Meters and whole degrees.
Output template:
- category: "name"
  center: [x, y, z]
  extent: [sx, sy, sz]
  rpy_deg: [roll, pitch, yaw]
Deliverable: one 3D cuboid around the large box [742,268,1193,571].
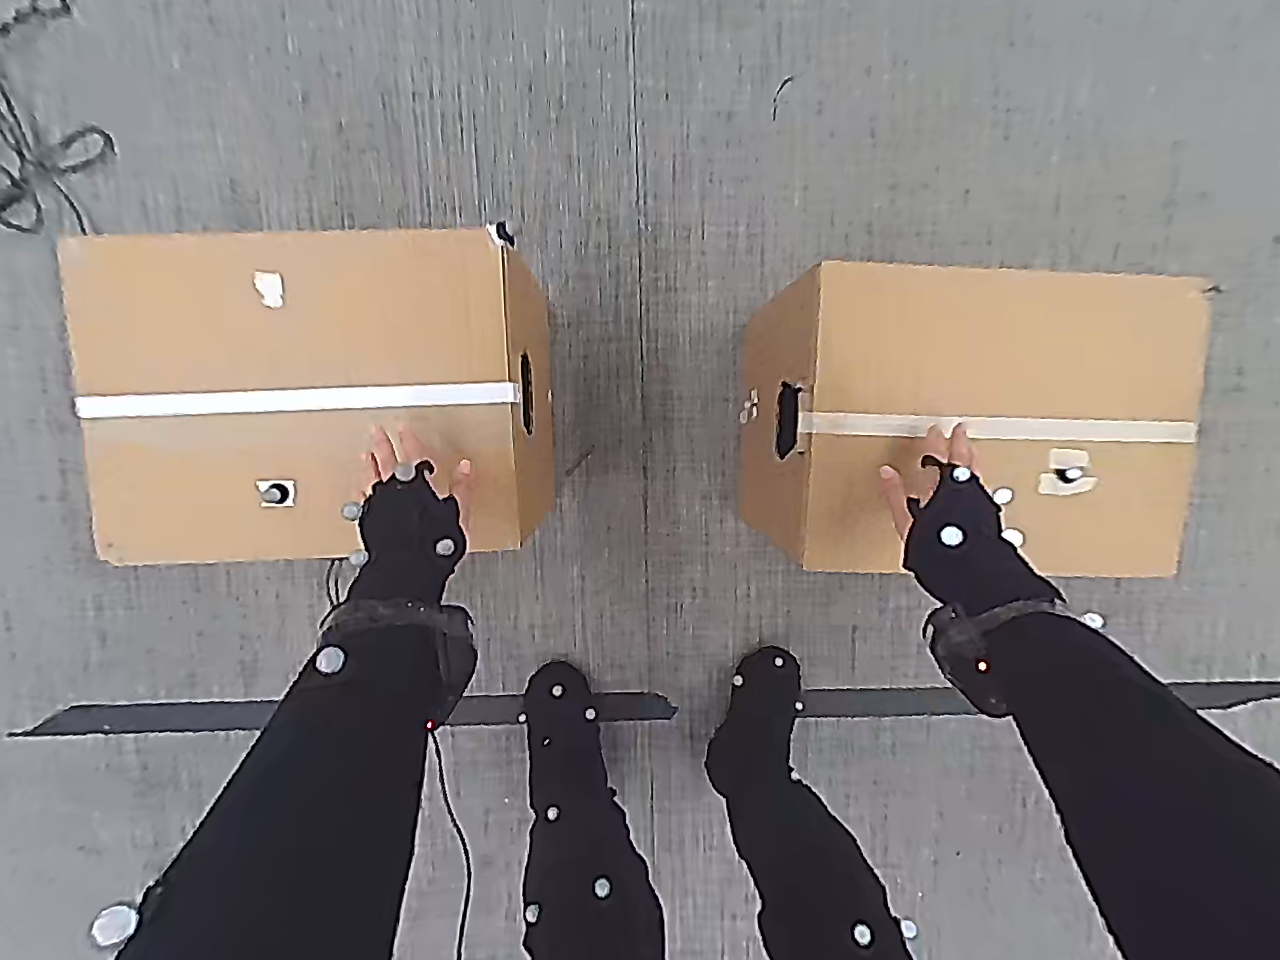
- category: "large box"
  center: [0.367, -0.070, 0.713]
  extent: [0.408, 0.320, 0.320]
  rpy_deg: [2, 96, -3]
